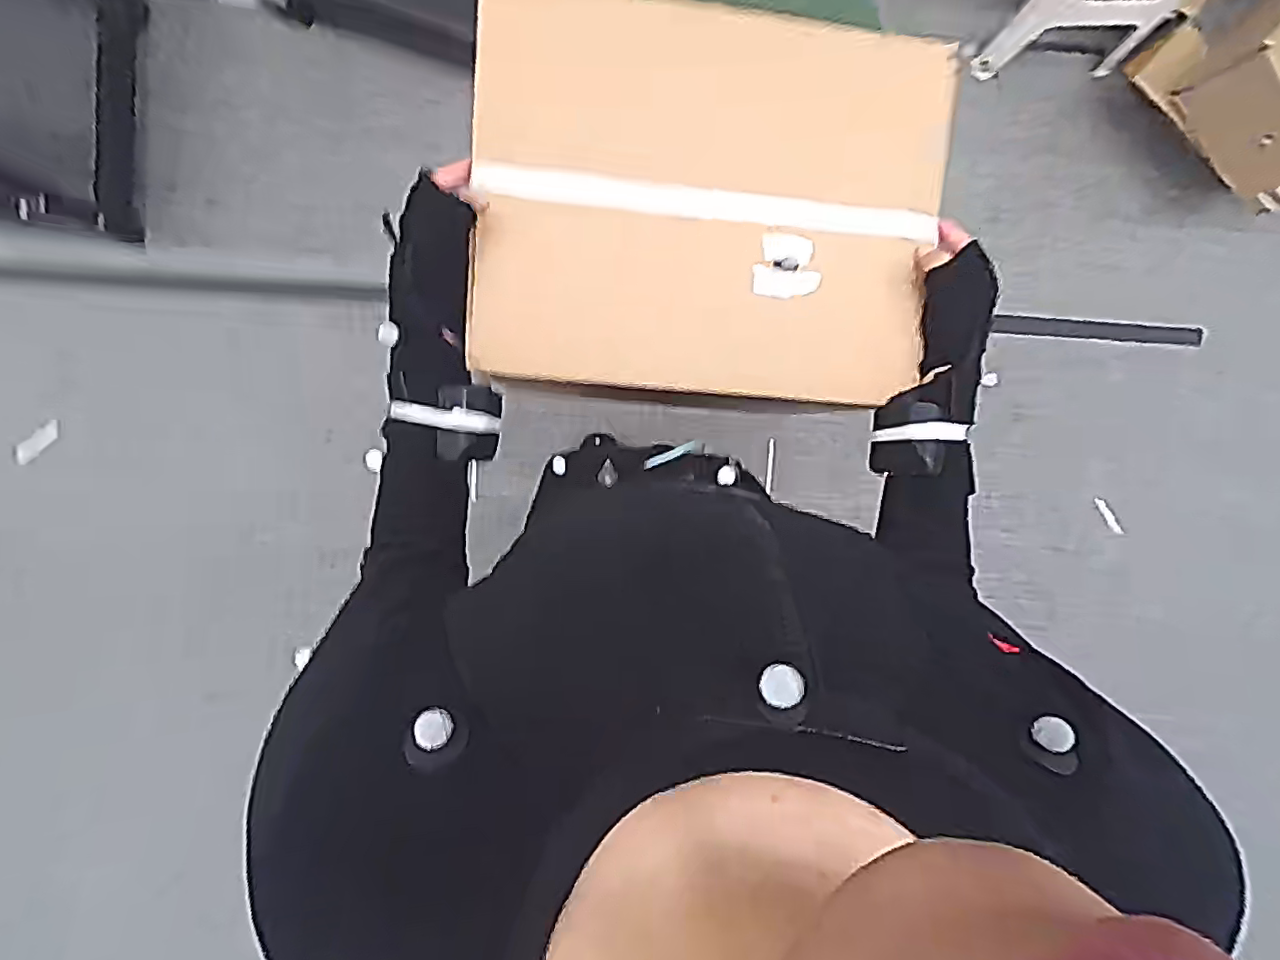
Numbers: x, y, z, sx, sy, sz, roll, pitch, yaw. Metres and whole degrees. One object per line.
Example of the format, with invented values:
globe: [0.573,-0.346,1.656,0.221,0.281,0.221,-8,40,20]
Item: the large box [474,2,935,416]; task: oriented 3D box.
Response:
large box: [0.043,-0.244,0.624,0.408,0.320,0.320,4,96,-7]
